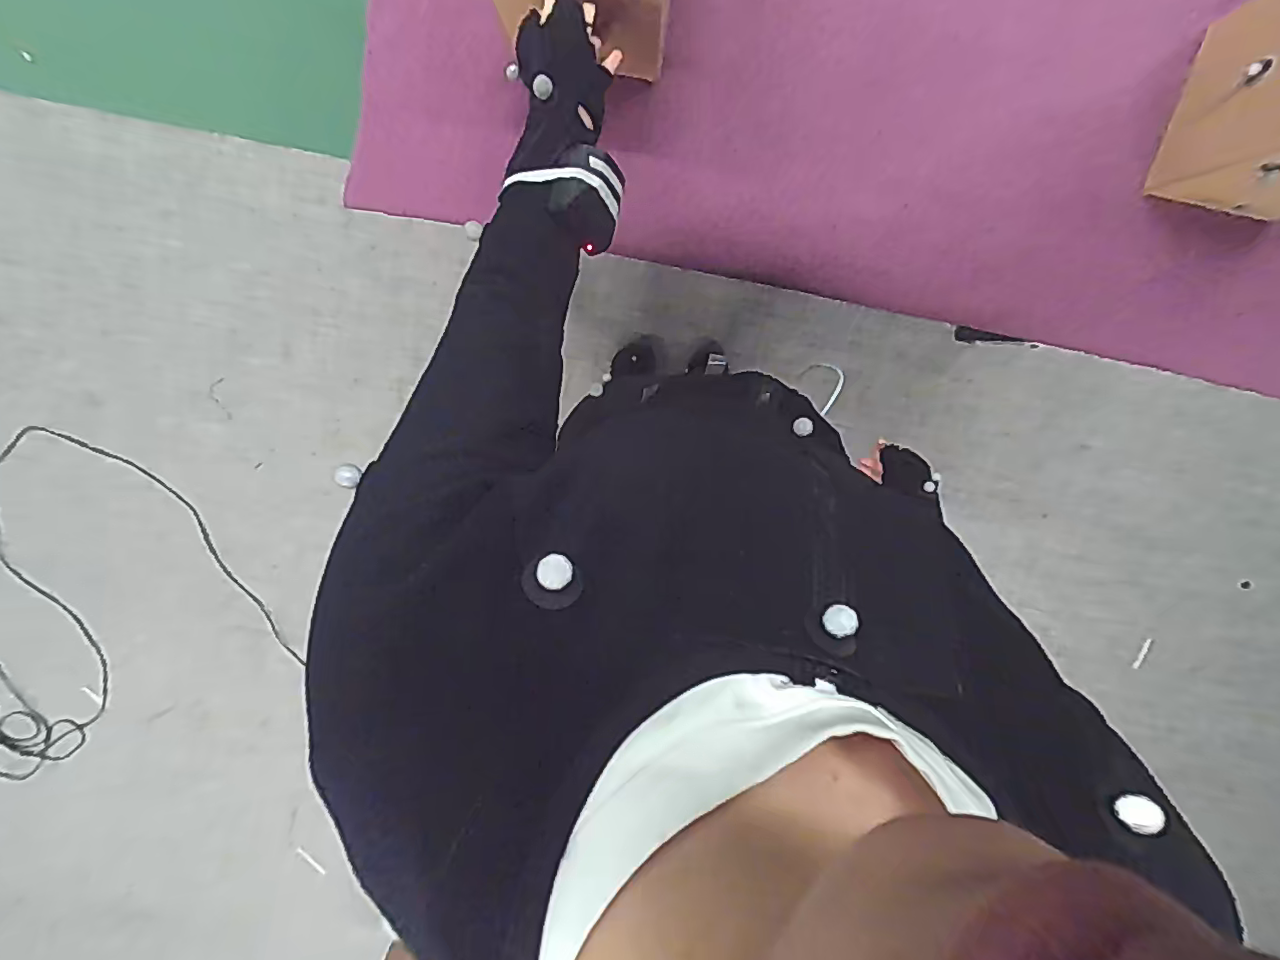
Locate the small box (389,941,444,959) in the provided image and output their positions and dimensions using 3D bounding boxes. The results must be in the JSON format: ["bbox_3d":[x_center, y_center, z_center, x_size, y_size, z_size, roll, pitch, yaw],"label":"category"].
[{"bbox_3d":[-0.728,1.603,1.696,0.168,0.176,0.179,13,106,-3],"label":"small box"}]

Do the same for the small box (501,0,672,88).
[{"bbox_3d":[-0.046,-0.525,0.522,0.168,0.176,0.179,9,106,-2],"label":"small box"}]
